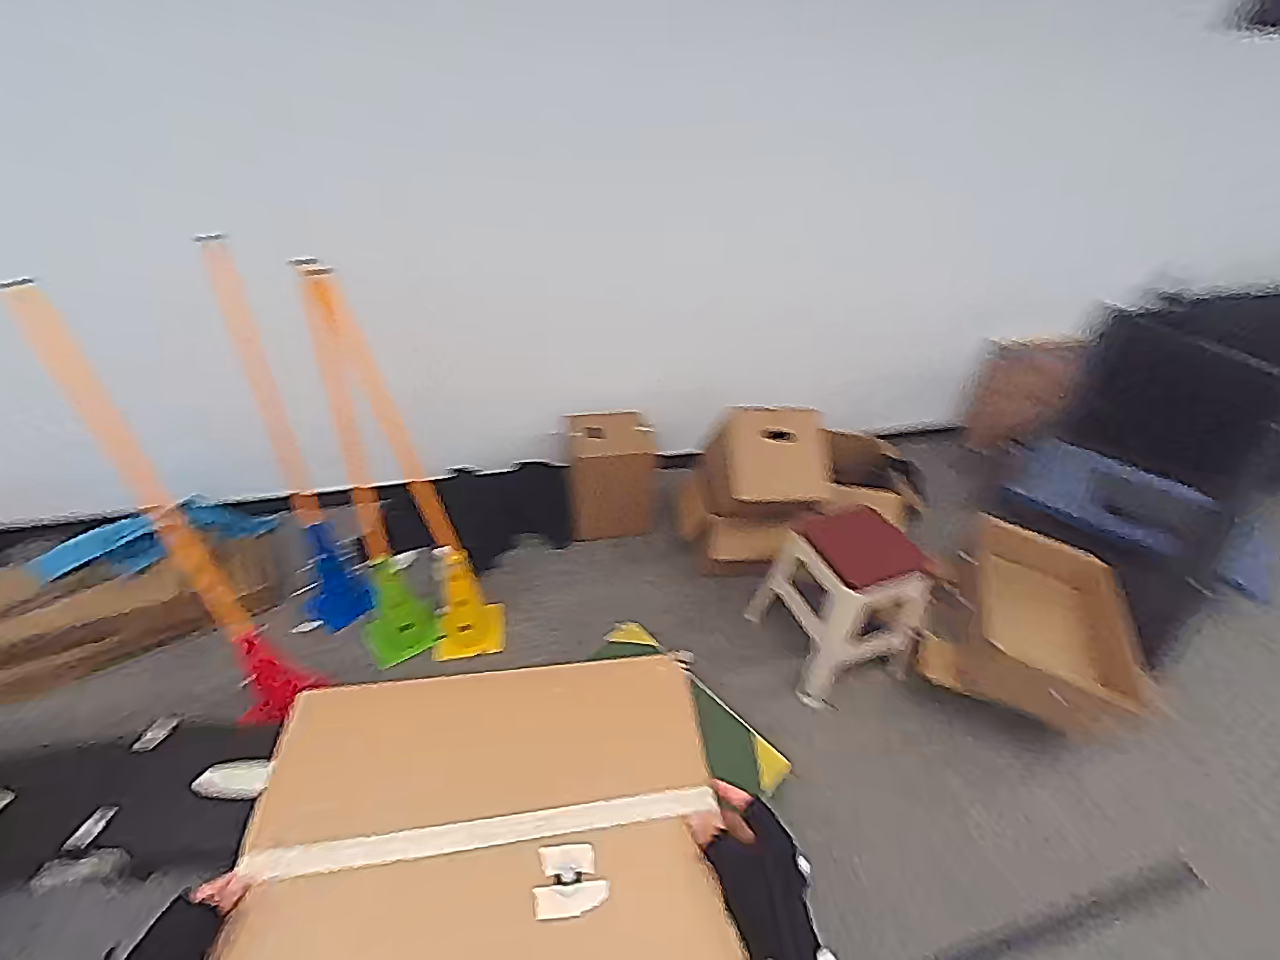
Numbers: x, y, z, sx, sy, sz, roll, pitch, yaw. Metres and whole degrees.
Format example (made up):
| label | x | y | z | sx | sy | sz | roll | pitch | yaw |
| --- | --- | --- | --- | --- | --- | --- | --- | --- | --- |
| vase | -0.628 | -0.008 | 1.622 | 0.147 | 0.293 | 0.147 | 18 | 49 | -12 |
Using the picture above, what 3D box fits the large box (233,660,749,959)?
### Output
| label | x | y | z | sx | sy | sz | roll | pitch | yaw |
| --- | --- | --- | --- | --- | --- | --- | --- | --- | --- |
| large box | -0.137 | 0.434 | 0.586 | 0.408 | 0.320 | 0.320 | -3 | 41 | -9 |
